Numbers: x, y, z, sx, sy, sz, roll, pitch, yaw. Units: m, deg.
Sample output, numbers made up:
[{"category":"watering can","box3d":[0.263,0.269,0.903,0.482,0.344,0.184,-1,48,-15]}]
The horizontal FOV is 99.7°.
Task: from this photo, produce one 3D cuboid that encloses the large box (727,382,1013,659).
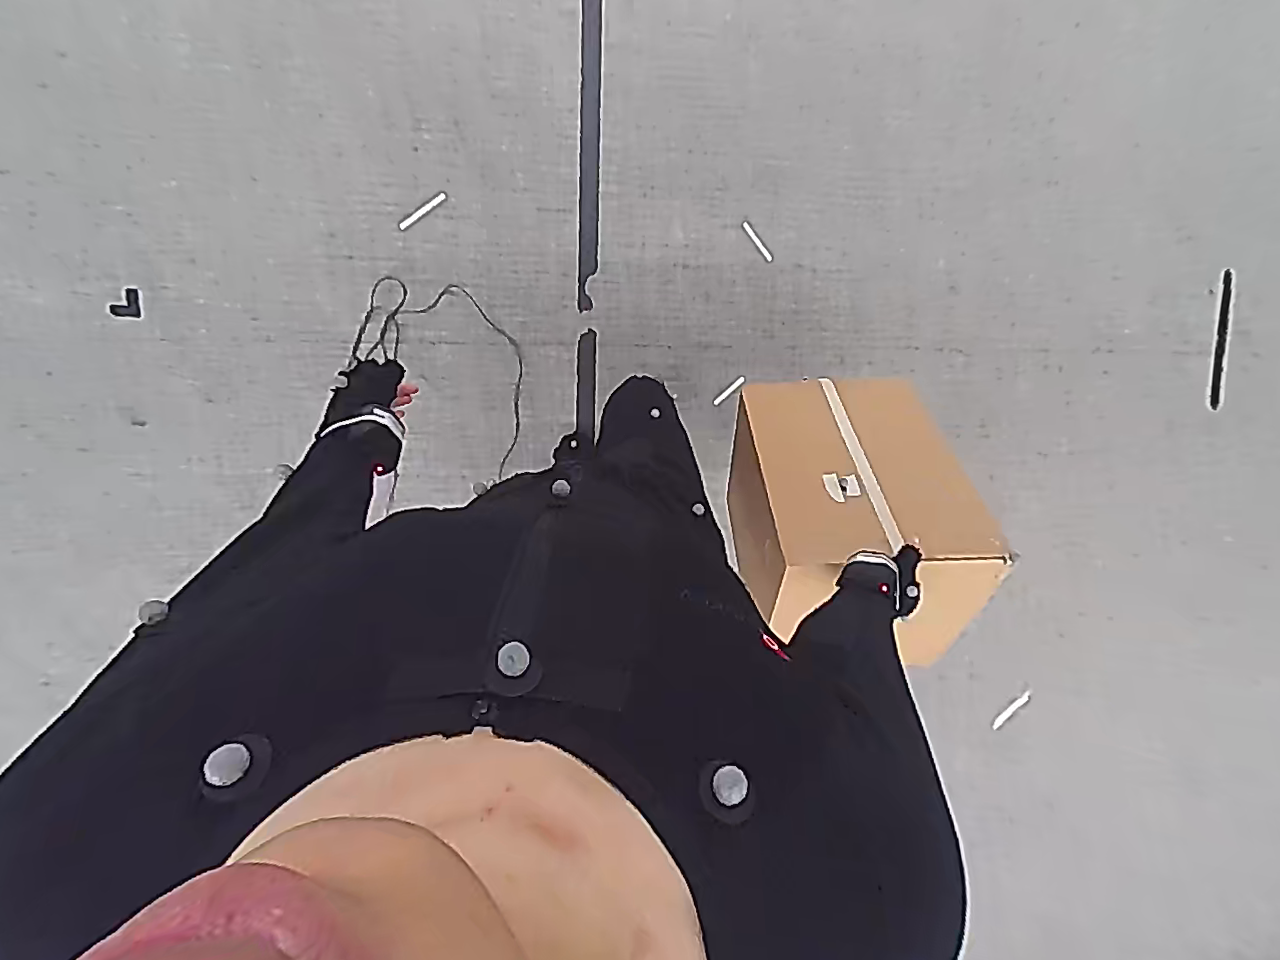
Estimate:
[{"category":"large box","box3d":[0.354,0.067,0.982,0.320,0.408,0.320,-3,138,0]}]
